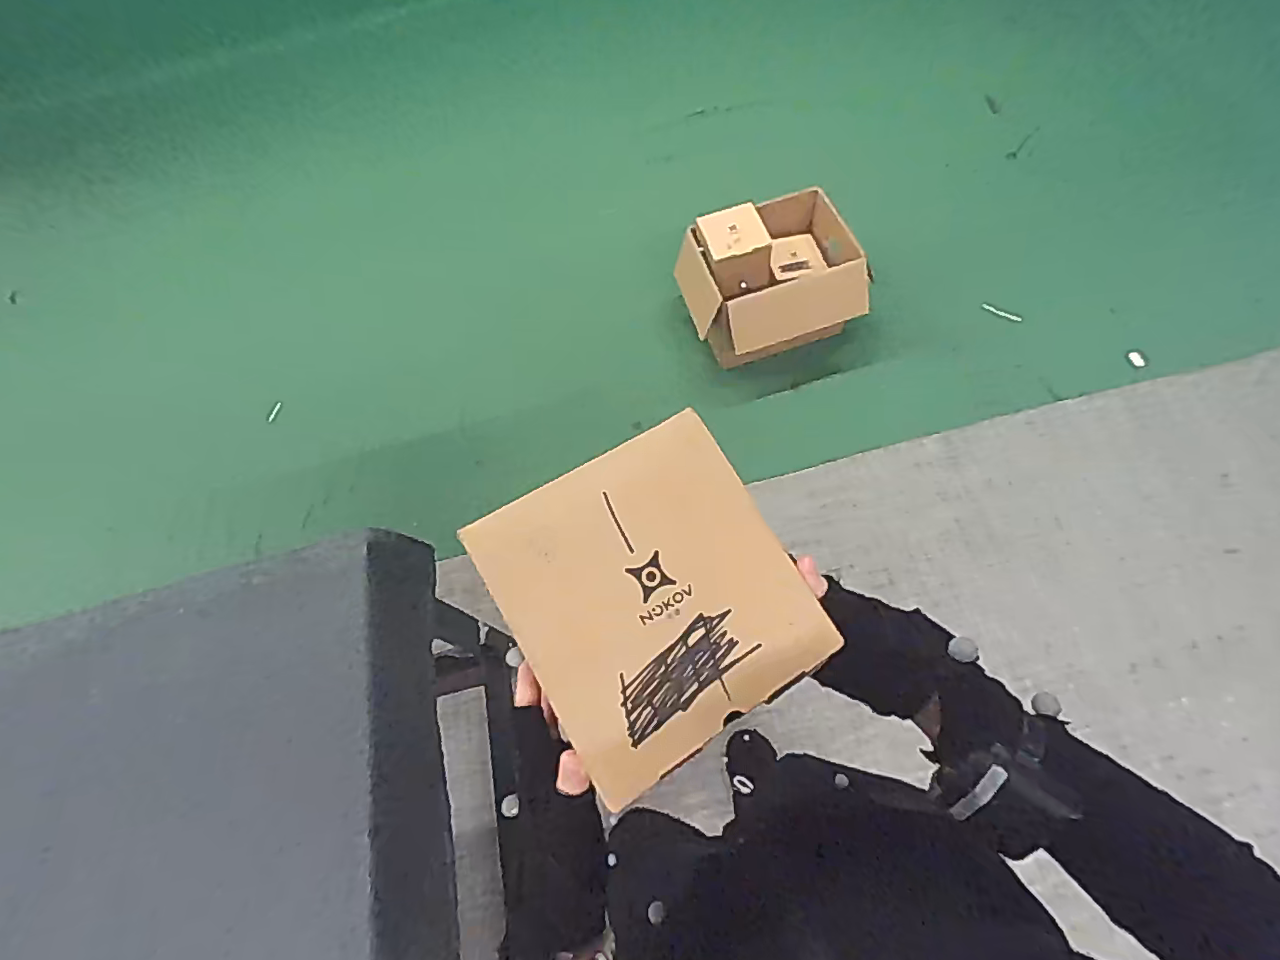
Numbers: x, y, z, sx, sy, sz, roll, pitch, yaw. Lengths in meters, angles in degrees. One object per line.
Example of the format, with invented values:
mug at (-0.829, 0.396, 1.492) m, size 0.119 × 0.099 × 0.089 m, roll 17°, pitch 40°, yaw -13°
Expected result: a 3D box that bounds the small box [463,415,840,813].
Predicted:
small box at (-0.001, 0.086, 0.391) m, size 0.168 × 0.176 × 0.179 m, roll -29°, pitch 81°, yaw -15°
